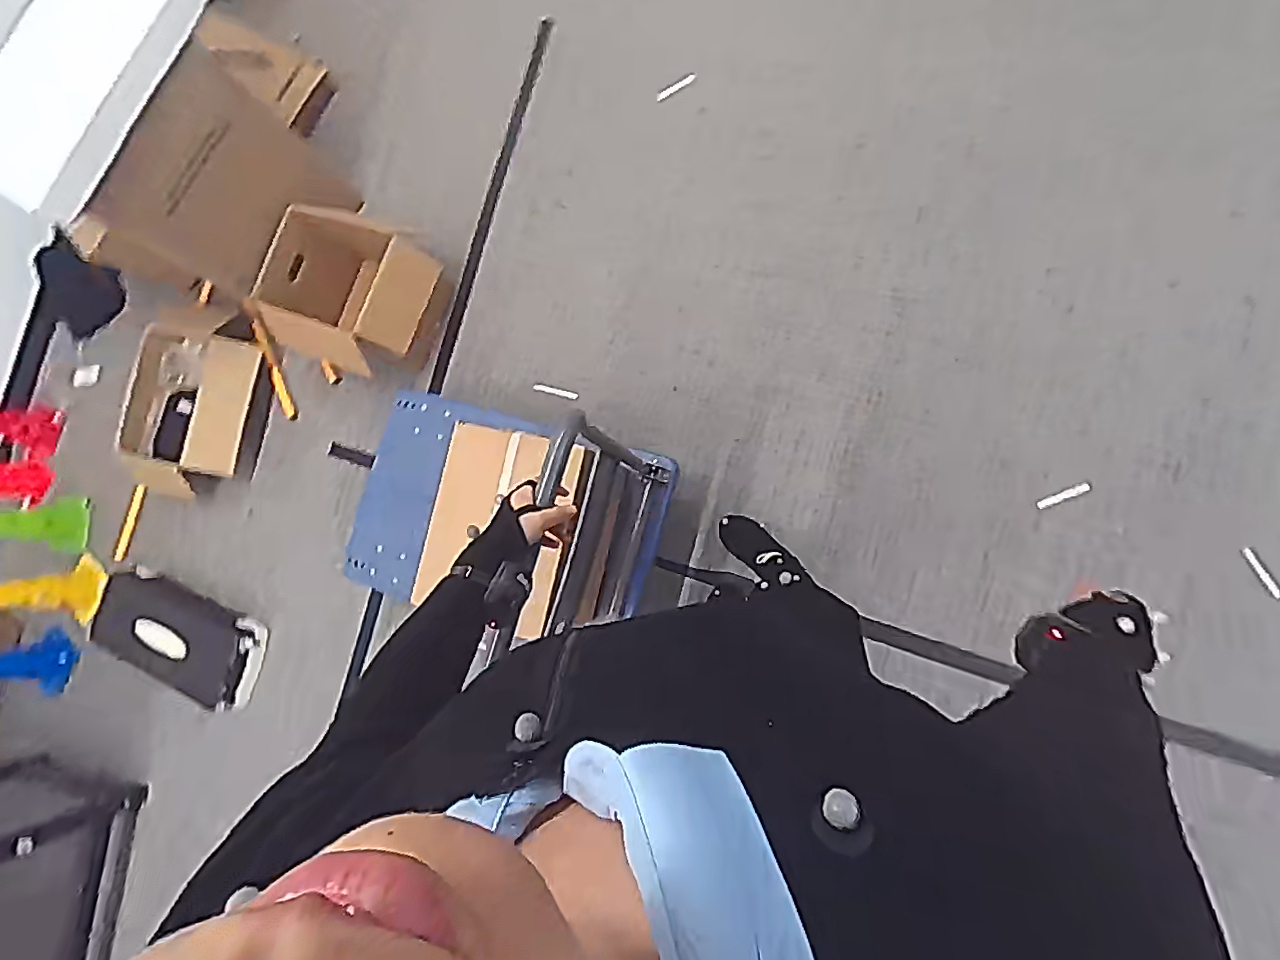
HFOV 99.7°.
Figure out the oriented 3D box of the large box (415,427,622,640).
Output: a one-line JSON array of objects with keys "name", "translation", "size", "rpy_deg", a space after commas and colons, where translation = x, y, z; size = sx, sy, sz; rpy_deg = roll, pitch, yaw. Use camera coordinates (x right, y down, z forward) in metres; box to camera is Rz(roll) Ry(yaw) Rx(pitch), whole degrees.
[{"name": "large box", "translation": [-0.262, 0.124, 1.270], "size": [0.320, 0.320, 0.408], "rpy_deg": [11, 85, 15]}]
